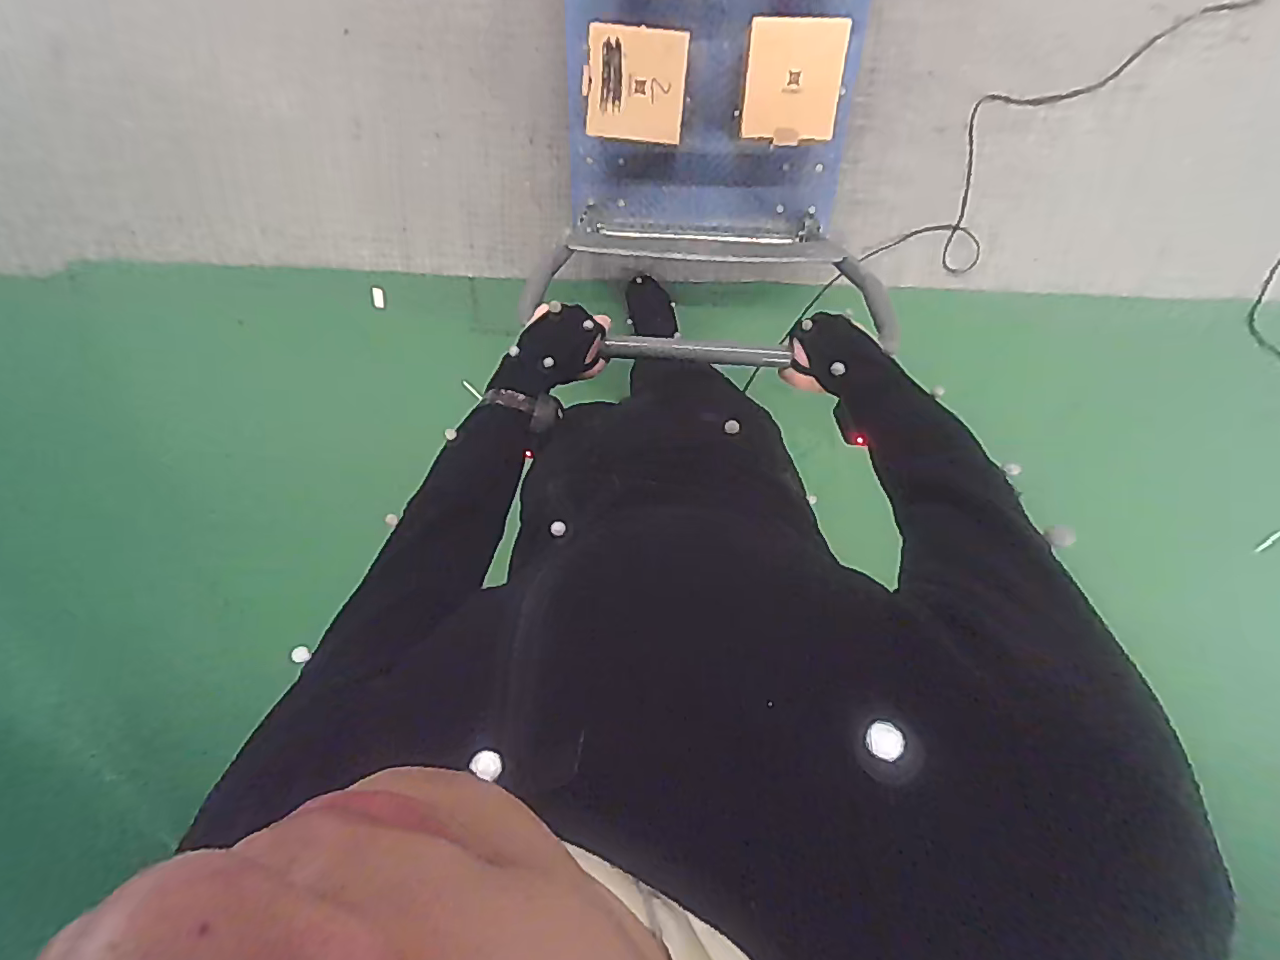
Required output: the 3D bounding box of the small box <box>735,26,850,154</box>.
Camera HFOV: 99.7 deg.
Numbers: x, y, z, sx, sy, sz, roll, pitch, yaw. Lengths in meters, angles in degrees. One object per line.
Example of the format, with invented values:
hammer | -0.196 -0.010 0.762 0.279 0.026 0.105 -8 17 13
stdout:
small box | 0.274 -0.722 1.018 0.168 0.176 0.179 3 120 3
